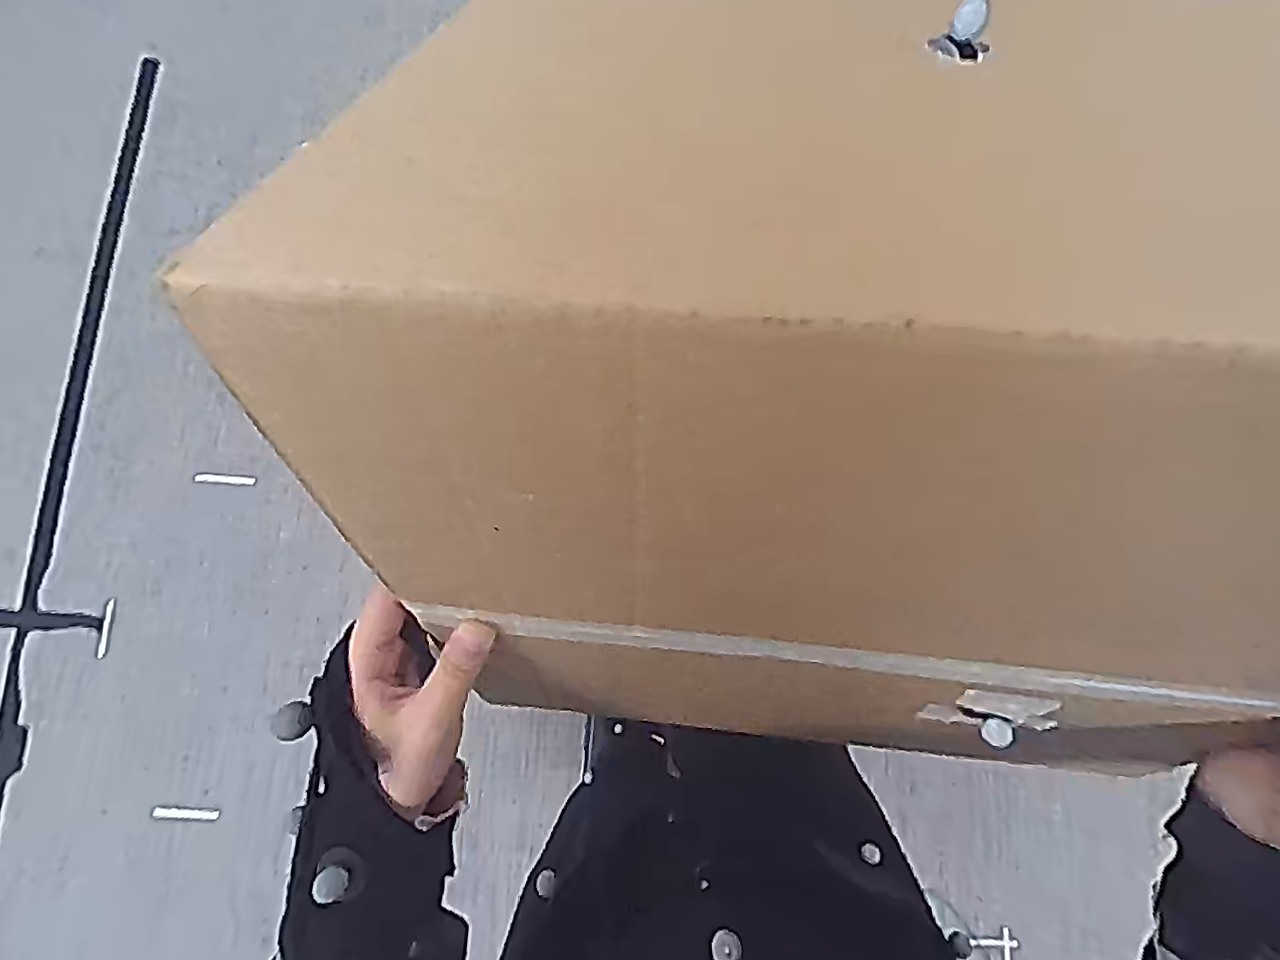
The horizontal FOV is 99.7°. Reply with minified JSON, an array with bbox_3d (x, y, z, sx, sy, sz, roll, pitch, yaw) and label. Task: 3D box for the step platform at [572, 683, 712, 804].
[{"bbox_3d":[0.034,0.373,1.279,0.286,0.204,0.684,10,79,-1],"label":"step platform"}]
